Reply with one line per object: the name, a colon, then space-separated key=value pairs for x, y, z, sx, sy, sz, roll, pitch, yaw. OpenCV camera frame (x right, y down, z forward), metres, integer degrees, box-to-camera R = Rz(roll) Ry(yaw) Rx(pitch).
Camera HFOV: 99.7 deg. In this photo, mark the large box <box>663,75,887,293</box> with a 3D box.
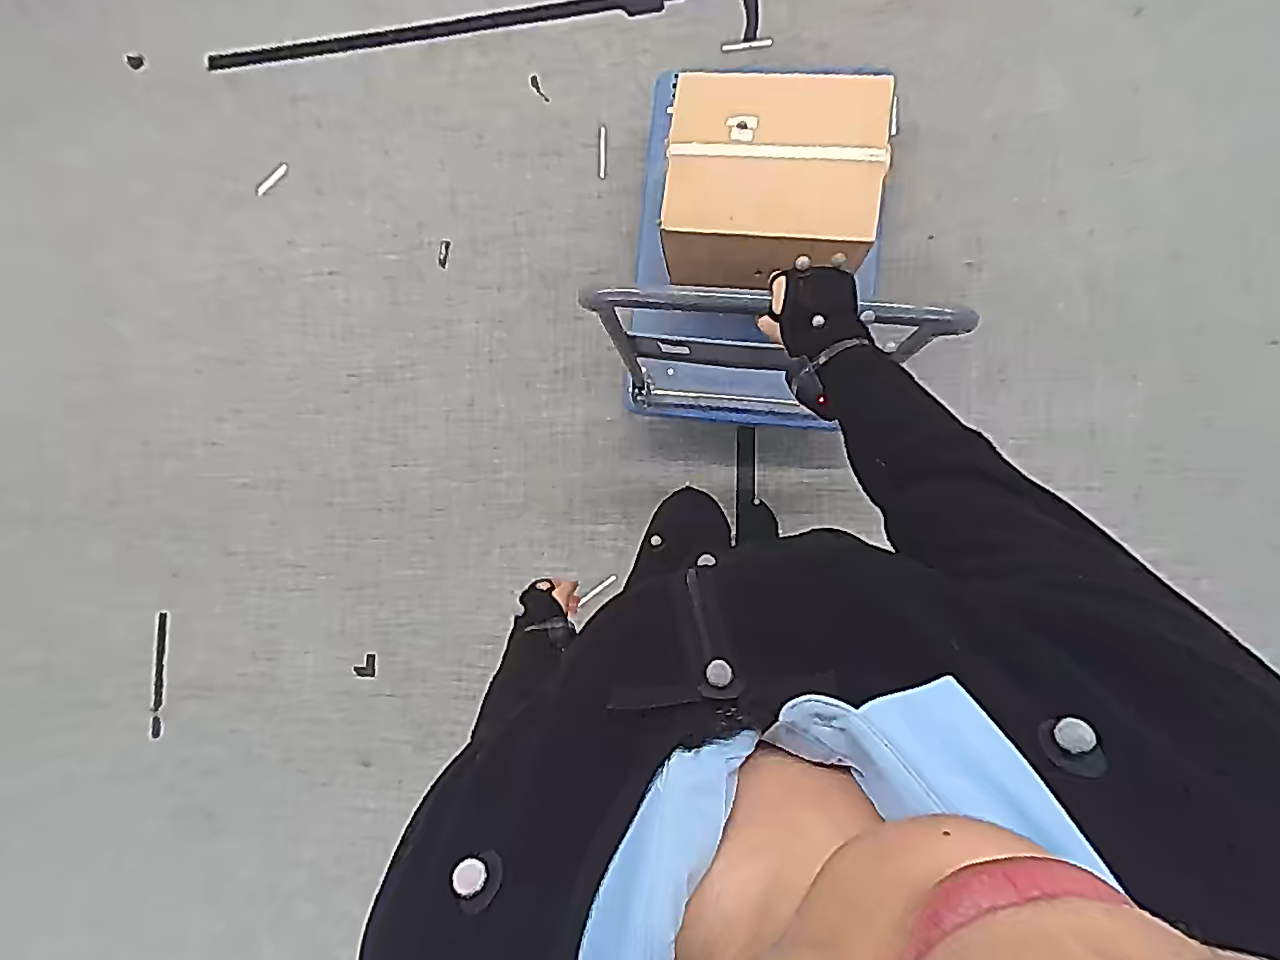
large box: x=0.279 y=-0.619 z=1.185 sx=0.408 sy=0.320 sz=0.320 roll=6 pitch=89 yaw=9
